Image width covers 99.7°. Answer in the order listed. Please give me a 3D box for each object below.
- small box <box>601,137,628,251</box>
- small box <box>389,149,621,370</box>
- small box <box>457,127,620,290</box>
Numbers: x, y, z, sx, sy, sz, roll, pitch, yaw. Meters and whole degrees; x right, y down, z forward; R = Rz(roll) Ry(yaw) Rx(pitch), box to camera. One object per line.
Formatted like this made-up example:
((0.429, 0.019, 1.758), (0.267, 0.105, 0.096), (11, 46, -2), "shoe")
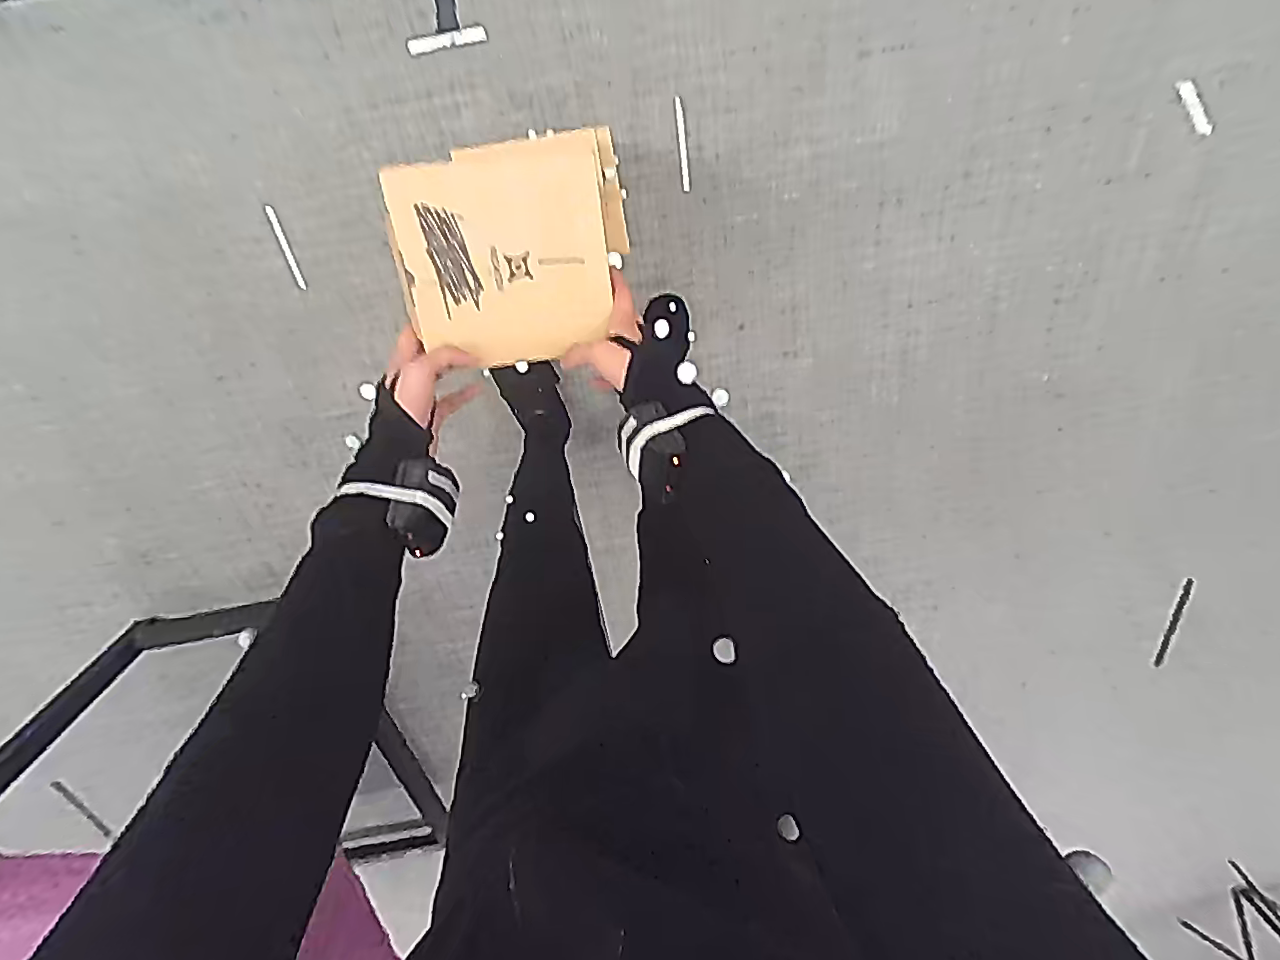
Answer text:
((-0.120, -0.508, 0.995), (0.168, 0.176, 0.179), (-13, 118, 3), "small box")
((-0.117, -0.212, 0.542), (0.179, 0.176, 0.168), (-8, 111, -3), "small box")
((-0.121, -0.341, 0.709), (0.168, 0.176, 0.179), (-8, 119, 0), "small box")
